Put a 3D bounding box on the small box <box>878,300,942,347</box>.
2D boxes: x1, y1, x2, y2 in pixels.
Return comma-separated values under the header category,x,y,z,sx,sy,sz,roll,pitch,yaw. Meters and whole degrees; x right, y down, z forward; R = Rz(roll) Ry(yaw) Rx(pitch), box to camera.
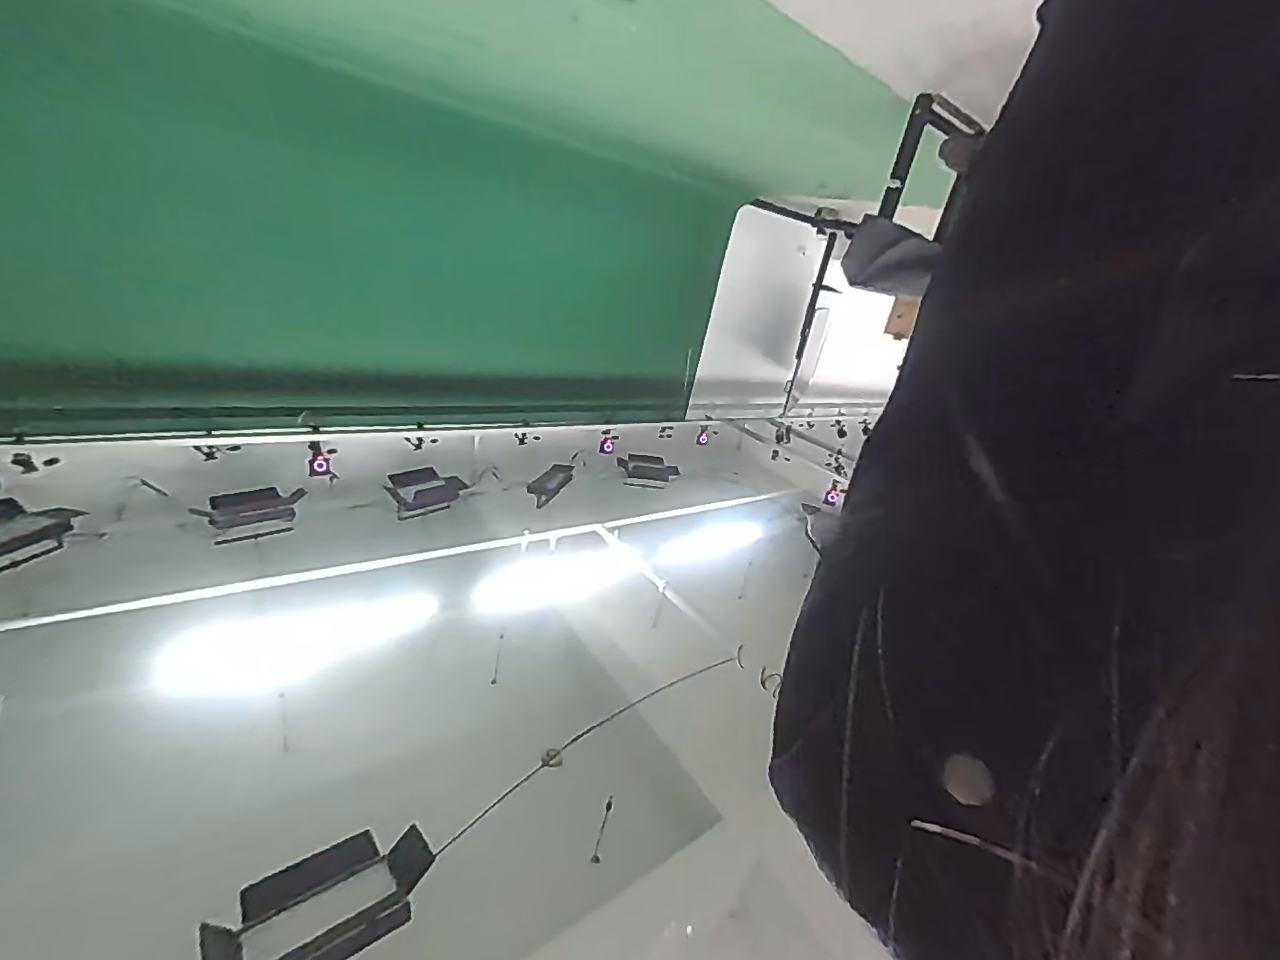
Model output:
category,x,y,z,sx,sy,sz,roll,pitch,yaw
small box,1.189,-0.691,2.380,0.179,0.176,0.168,-9,-149,-39
